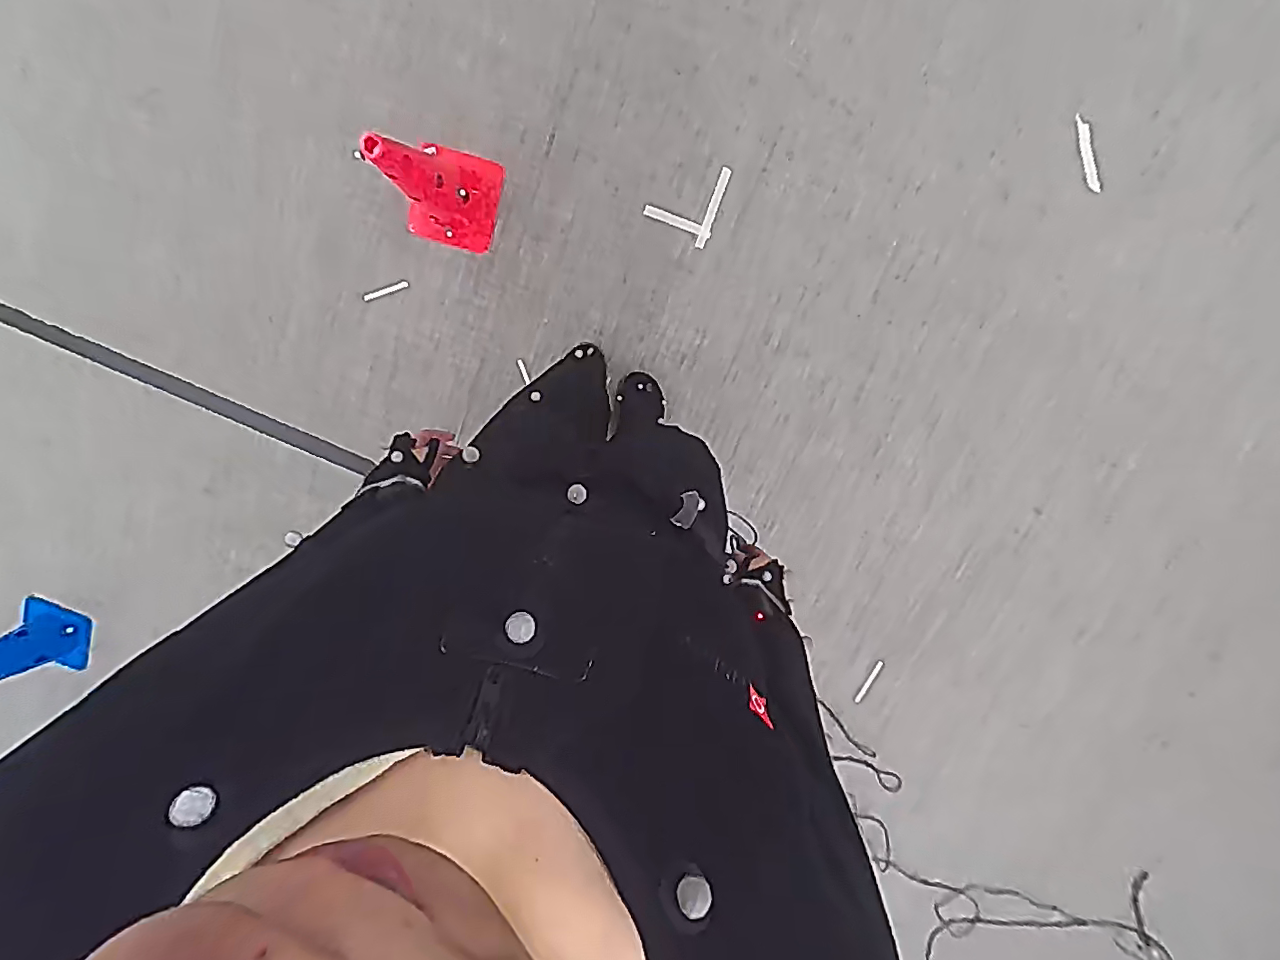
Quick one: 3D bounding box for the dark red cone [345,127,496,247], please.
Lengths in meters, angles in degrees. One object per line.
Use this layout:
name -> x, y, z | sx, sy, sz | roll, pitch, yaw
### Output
dark red cone -> -0.437, -0.592, 1.038 | 0.202, 0.394, 0.201 | 16, 106, 0

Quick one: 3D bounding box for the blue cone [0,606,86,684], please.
blue cone -> -1.746, 0.514, 1.442 | 0.193, 0.380, 0.192 | 24, 106, -2
